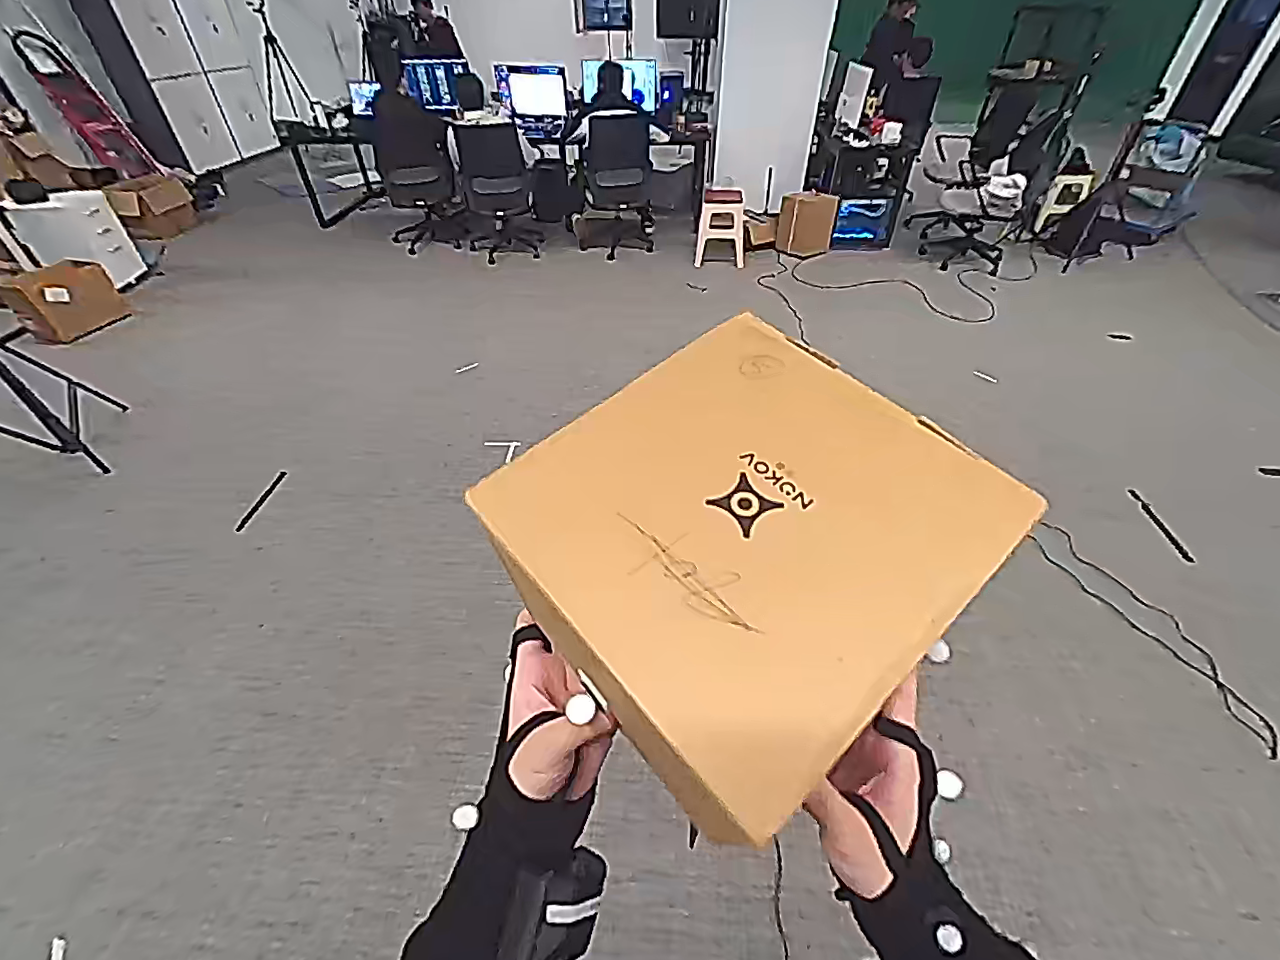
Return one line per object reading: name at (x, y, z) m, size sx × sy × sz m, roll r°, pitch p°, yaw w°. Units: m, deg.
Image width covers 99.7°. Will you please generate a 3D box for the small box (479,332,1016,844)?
small box at (0.047, 0.059, 0.299) m, size 0.179 × 0.176 × 0.168 m, roll -39°, pitch 63°, yaw -21°
